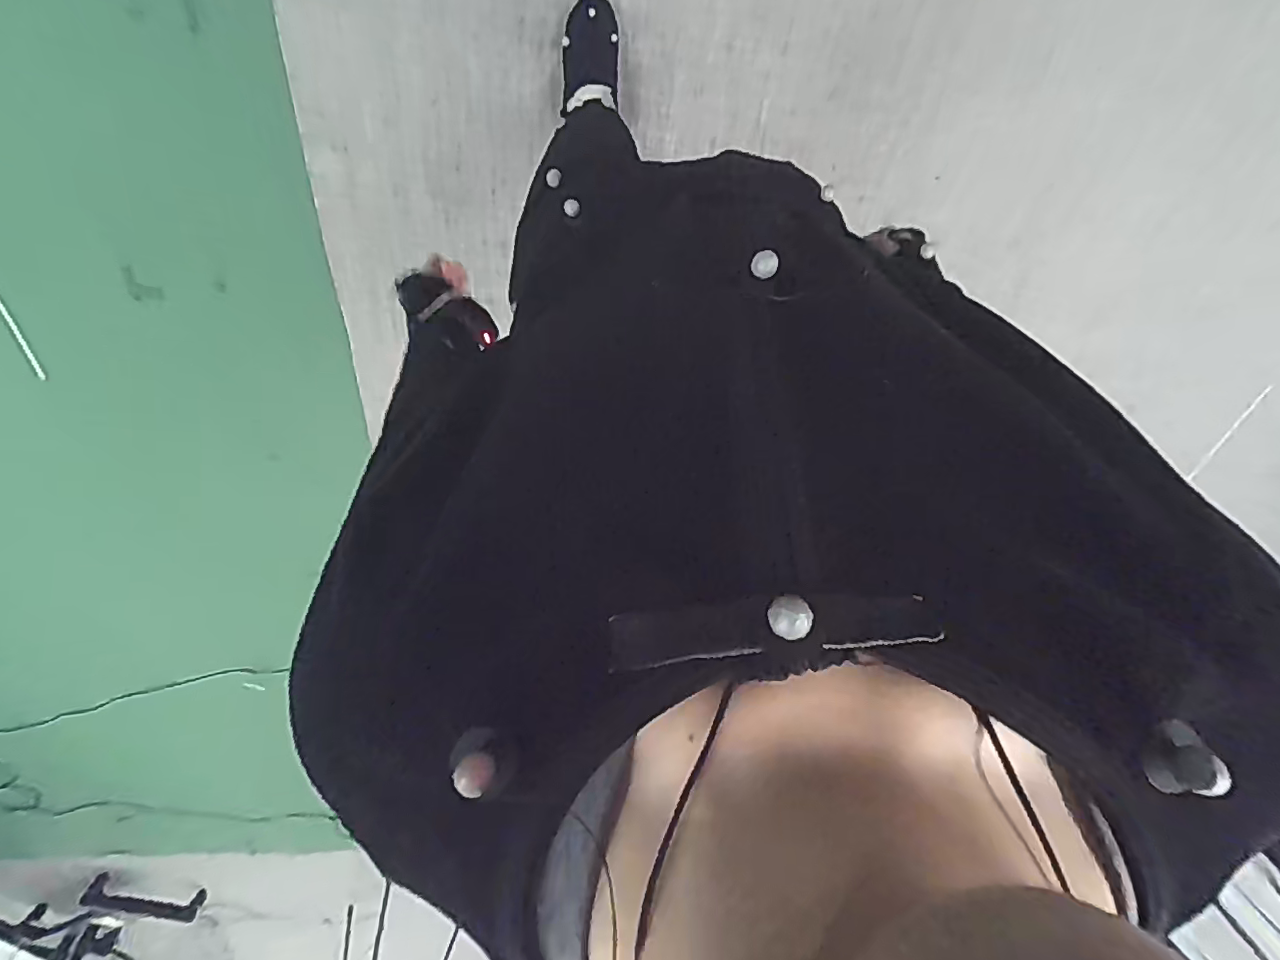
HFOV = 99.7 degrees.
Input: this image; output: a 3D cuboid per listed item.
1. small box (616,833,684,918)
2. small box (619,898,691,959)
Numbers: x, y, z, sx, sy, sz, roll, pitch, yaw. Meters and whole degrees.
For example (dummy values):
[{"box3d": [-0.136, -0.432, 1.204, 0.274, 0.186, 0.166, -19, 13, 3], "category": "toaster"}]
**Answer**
[{"box3d": [0.024, 1.176, 1.611, 0.179, 0.176, 0.168, 1, 127, -6], "category": "small box"}, {"box3d": [0.036, 1.273, 1.478, 0.179, 0.176, 0.168, 2, 127, -7], "category": "small box"}]
